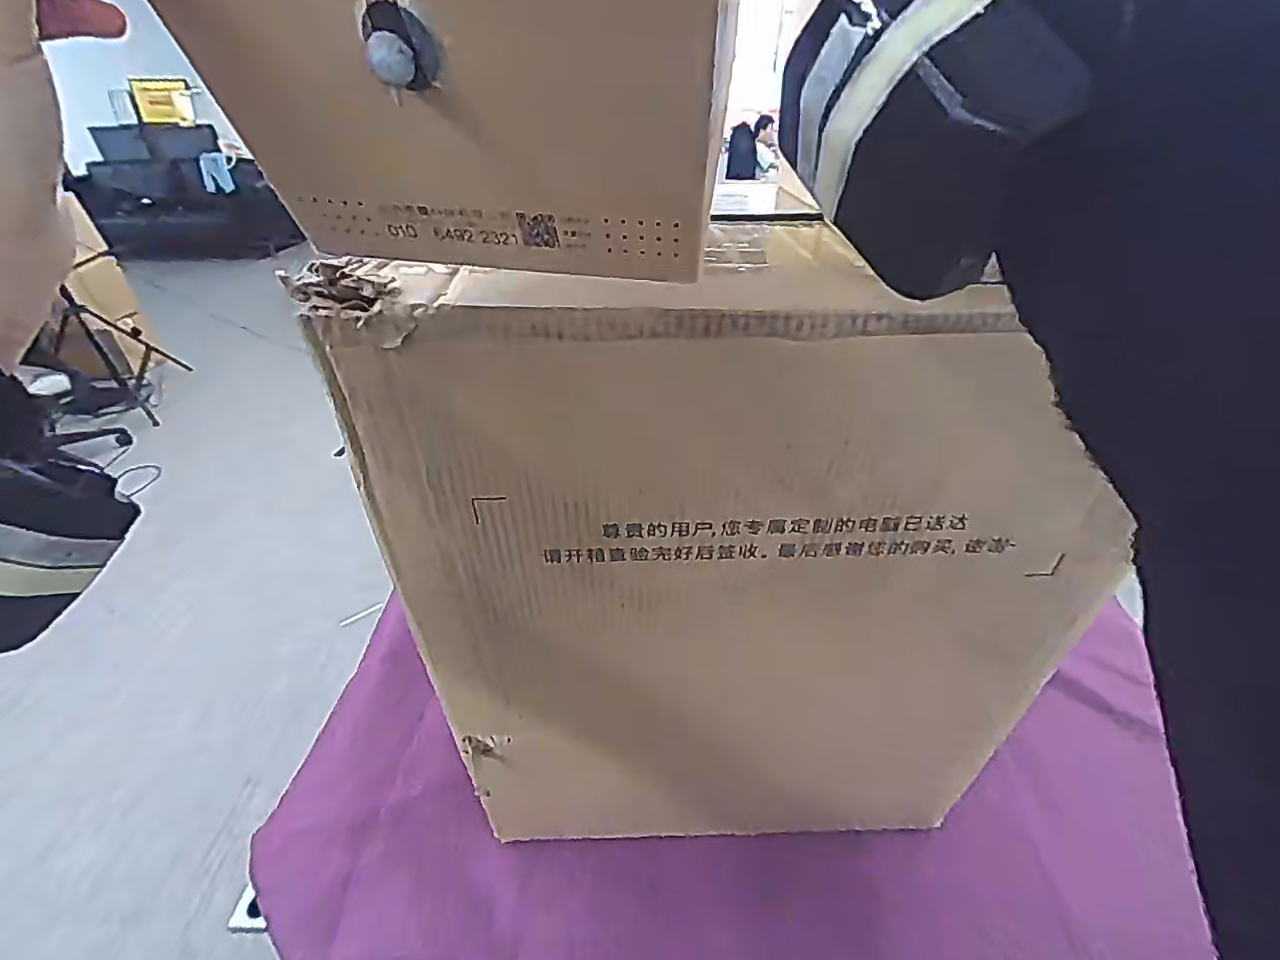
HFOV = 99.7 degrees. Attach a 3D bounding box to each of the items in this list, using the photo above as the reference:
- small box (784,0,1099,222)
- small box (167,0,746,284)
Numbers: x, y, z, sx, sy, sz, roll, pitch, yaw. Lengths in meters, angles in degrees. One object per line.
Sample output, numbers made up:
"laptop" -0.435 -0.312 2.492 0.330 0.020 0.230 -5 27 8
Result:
"small box" 0.225 -0.316 0.446 0.179 0.176 0.168 -1 35 0
"small box" -0.045 -0.195 0.193 0.168 0.176 0.179 7 62 6
